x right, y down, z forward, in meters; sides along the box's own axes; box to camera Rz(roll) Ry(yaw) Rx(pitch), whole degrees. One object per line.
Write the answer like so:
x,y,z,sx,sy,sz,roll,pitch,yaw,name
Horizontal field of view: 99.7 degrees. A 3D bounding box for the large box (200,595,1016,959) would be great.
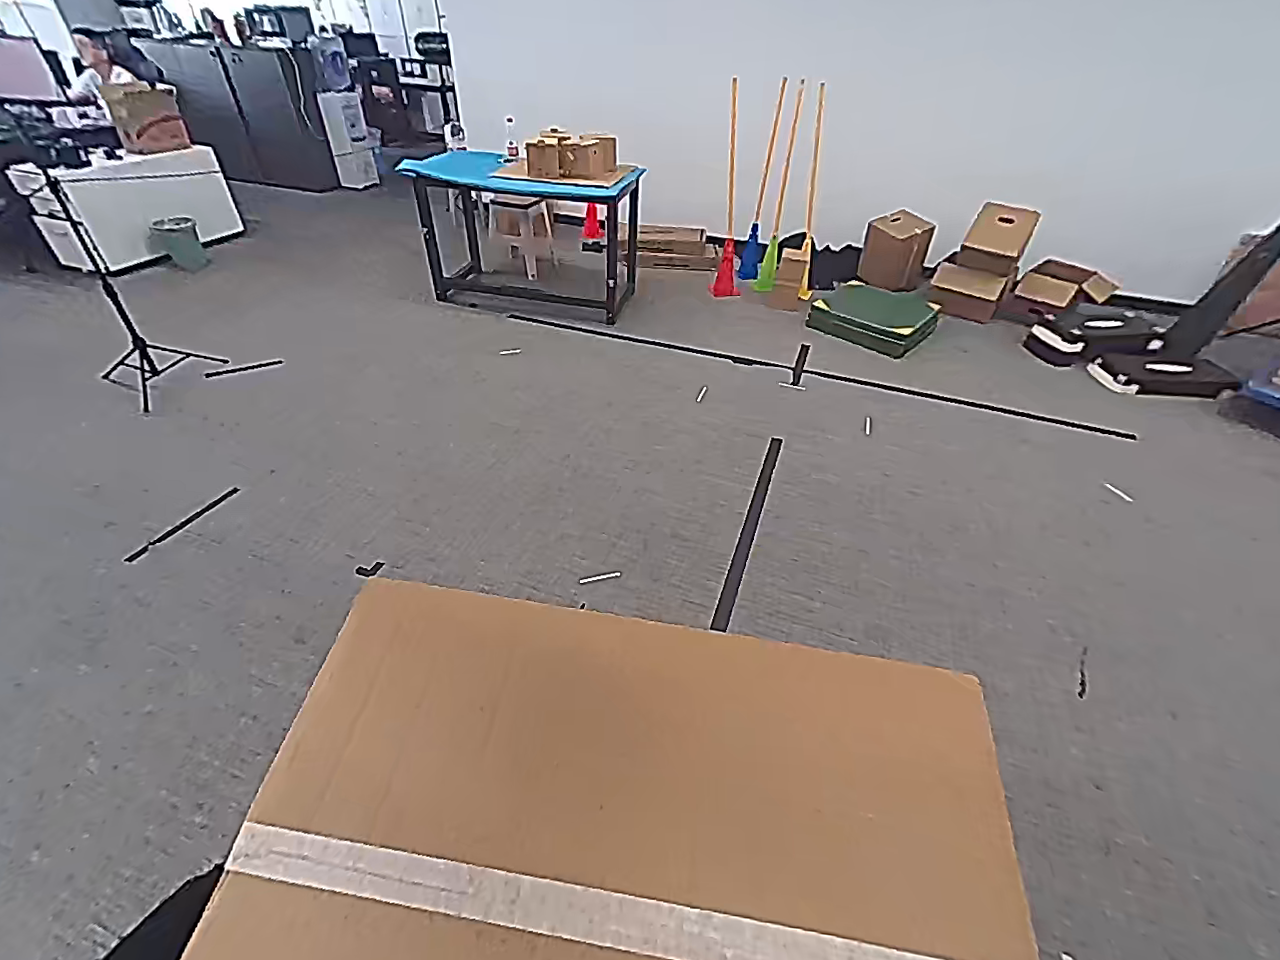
-0.015,0.313,0.395,0.408,0.320,0.320,8,55,5,large box
